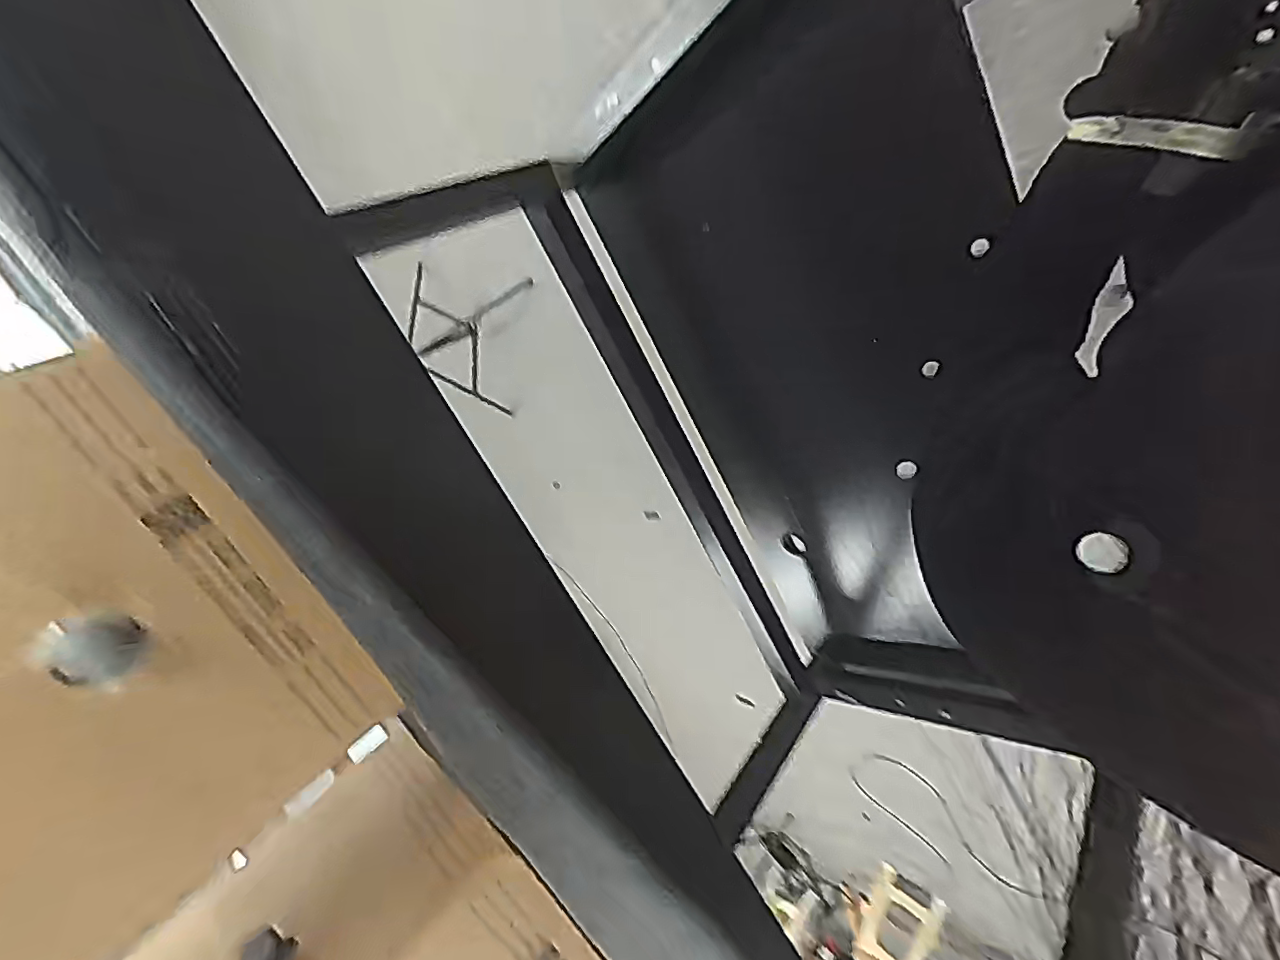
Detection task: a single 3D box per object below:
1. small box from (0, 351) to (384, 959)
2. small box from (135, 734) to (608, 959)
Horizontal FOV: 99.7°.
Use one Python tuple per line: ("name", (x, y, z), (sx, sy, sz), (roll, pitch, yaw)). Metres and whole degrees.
("small box", (-0.236, 0.071, 0.221), (0.179, 0.176, 0.168), (-8, 117, 52))
("small box", (-0.127, 0.271, 0.286), (0.179, 0.176, 0.168), (-5, 117, 51))
